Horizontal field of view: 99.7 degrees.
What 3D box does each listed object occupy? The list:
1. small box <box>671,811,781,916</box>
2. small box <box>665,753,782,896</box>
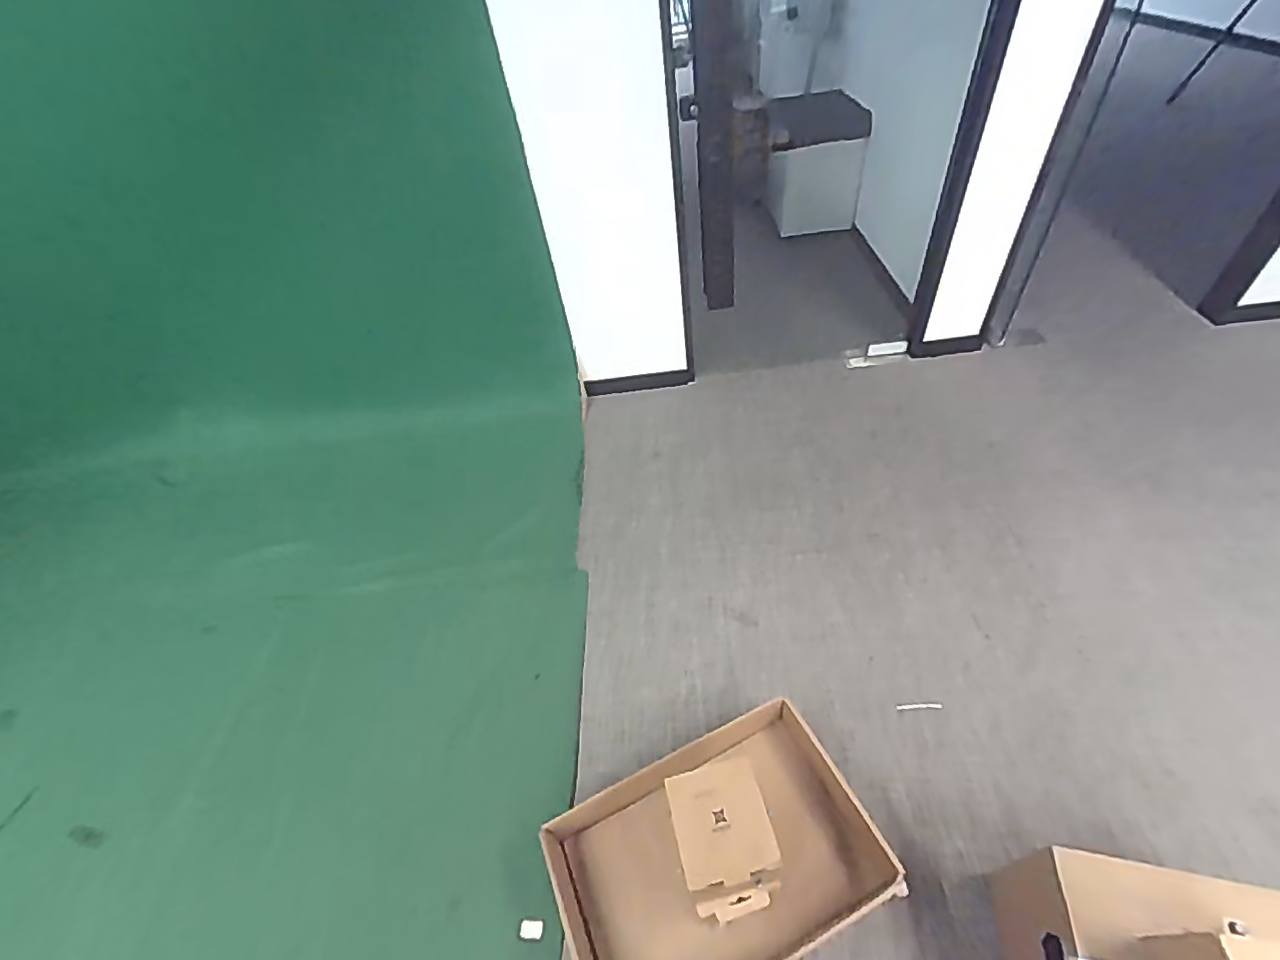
[{"bbox_3d":[0.177,0.762,1.109,0.168,0.176,0.179,-18,45,-5],"label":"small box"},{"bbox_3d":[0.154,0.642,1.002,0.168,0.176,0.179,-15,44,-3],"label":"small box"}]
